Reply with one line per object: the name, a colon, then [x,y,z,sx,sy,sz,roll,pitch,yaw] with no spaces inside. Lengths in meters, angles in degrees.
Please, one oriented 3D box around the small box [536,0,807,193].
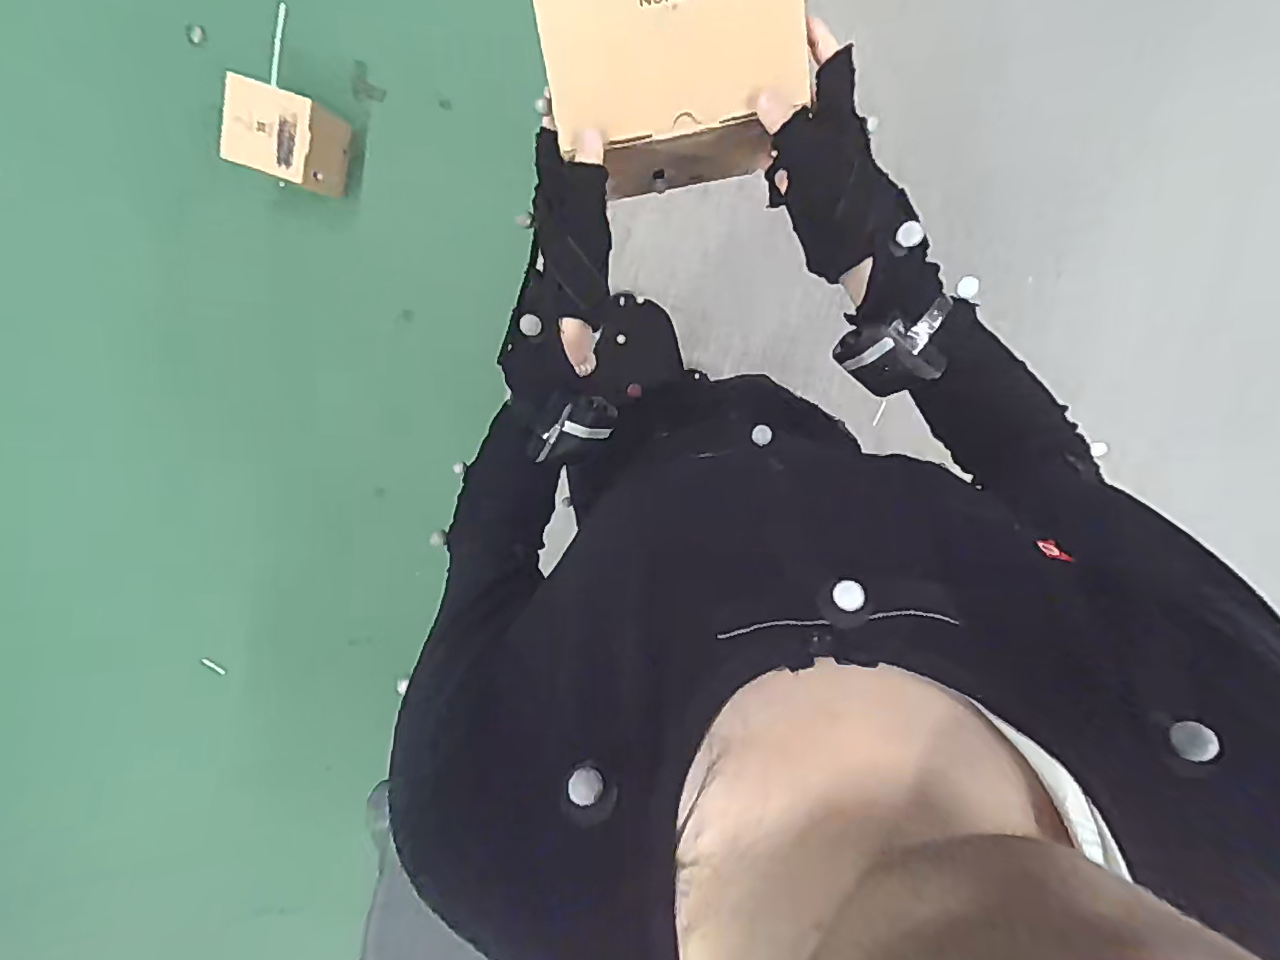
small box: [0.011,-0.337,0.403,0.168,0.176,0.179,-10,109,2]
